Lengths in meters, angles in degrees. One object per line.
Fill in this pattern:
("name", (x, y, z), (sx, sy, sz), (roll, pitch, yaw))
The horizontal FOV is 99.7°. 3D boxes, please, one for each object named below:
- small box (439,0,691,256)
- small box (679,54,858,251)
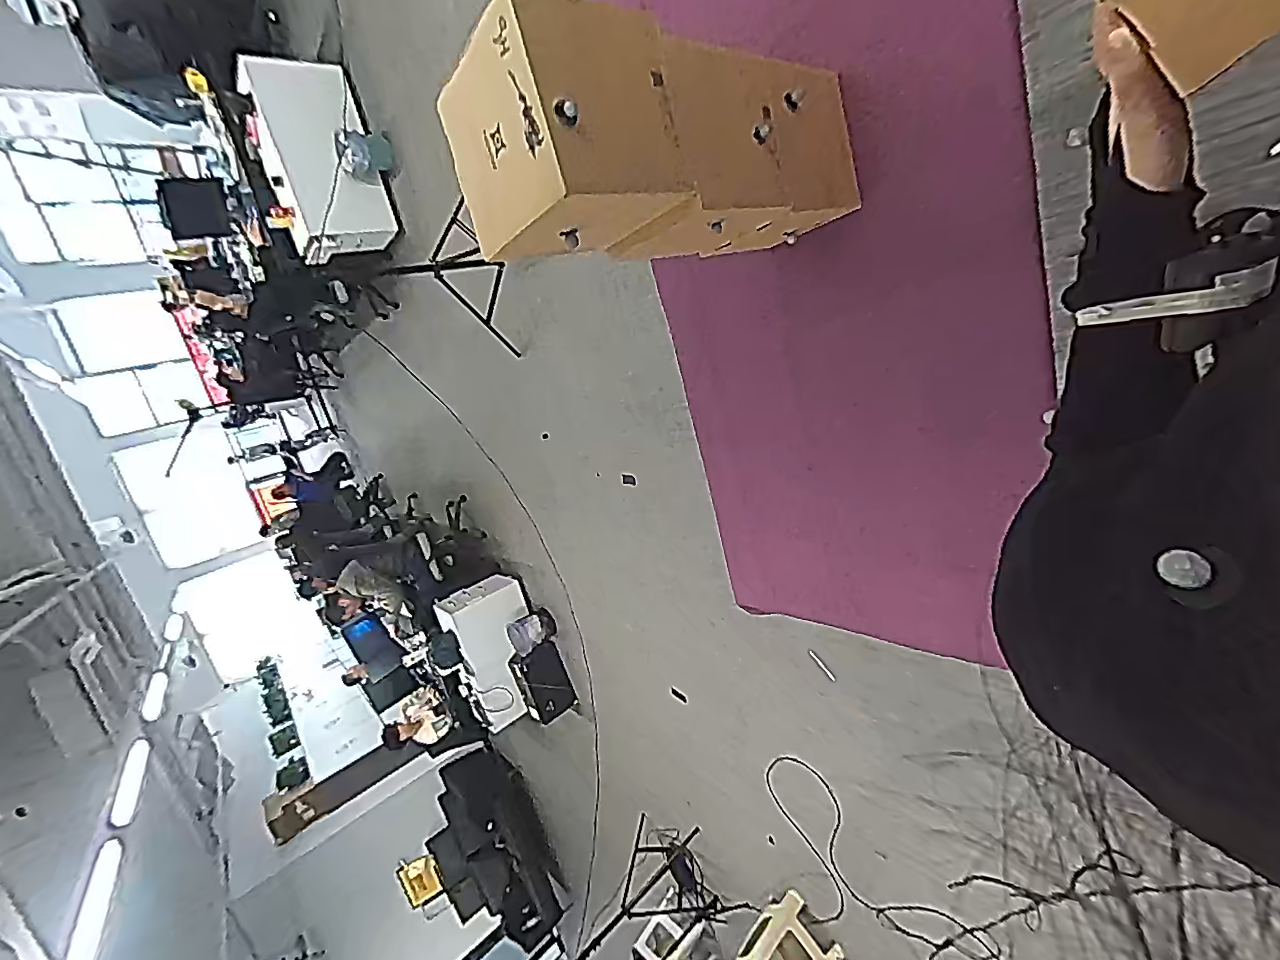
("small box", (-0.077, -0.346, 0.557), (0.179, 0.176, 0.168), (-1, 109, 53))
("small box", (0.174, -0.438, 0.749), (0.168, 0.176, 0.179), (0, 110, 53))
